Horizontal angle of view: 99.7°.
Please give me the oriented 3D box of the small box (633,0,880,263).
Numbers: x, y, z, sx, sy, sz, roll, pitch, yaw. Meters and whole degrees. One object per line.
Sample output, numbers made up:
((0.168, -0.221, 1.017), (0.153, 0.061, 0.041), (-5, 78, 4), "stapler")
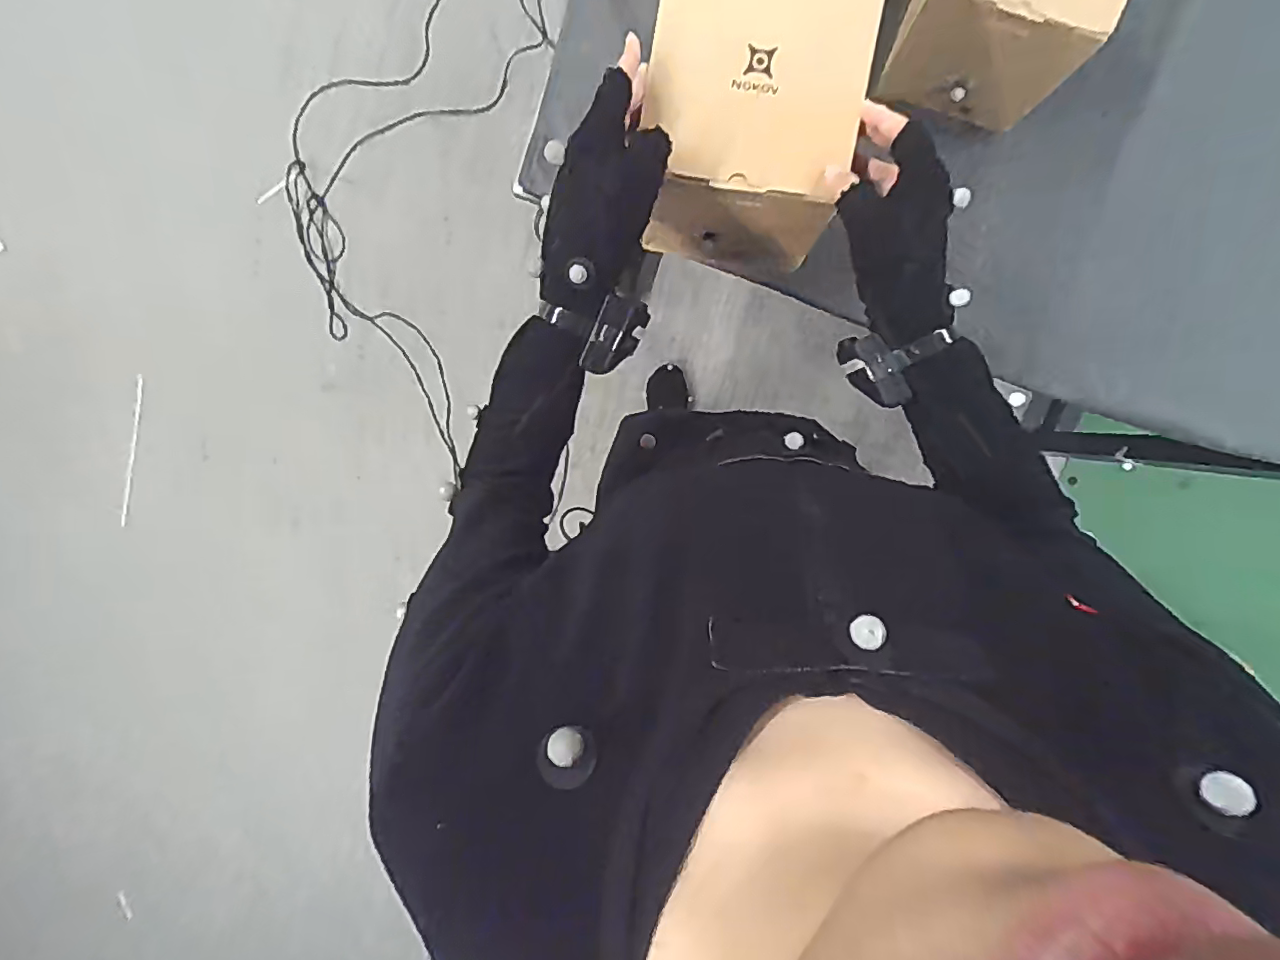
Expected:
((0.091, -0.321, 0.489), (0.168, 0.176, 0.179), (10, 96, 2), "small box")

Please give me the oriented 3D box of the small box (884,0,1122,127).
((0.385, -0.520, 0.563), (0.168, 0.176, 0.179), (21, 99, 3), "small box")
